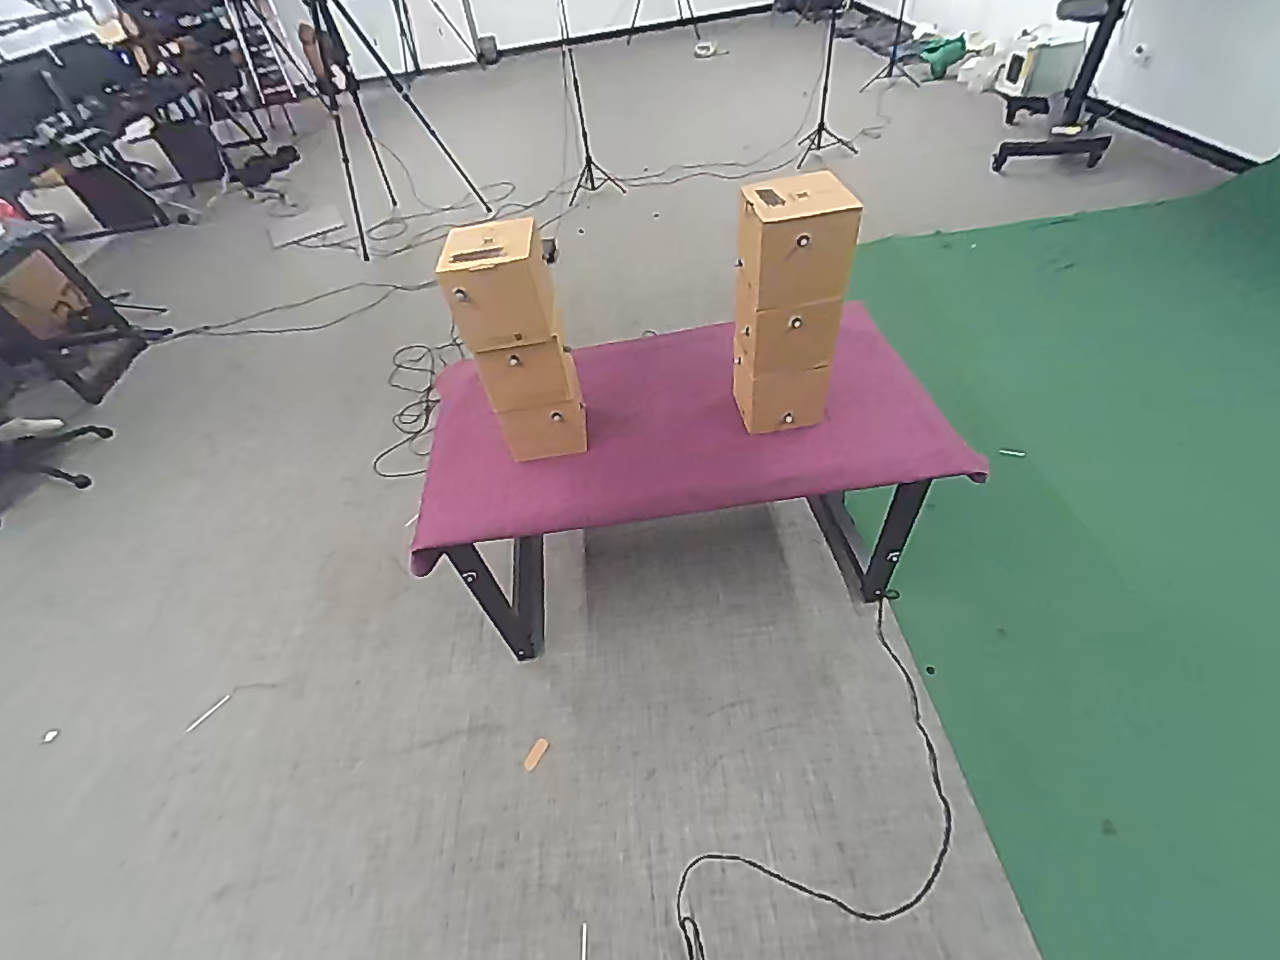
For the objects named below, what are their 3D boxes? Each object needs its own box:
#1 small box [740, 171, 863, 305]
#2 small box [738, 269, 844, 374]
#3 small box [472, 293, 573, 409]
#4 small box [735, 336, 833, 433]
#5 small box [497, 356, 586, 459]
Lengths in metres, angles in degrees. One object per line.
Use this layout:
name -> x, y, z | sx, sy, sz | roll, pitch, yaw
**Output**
small box -> 0.292, -0.450, 1.018 | 0.179, 0.176, 0.168 | -9, 49, 1
small box -> 0.308, -0.341, 1.139 | 0.179, 0.176, 0.168 | -9, 49, 1
small box -> -0.242, -0.274, 1.166 | 0.179, 0.176, 0.168 | -9, 49, 1
small box -> 0.326, -0.232, 1.260 | 0.179, 0.176, 0.168 | -10, 48, 0
small box -> -0.225, -0.171, 1.289 | 0.179, 0.176, 0.168 | -8, 48, 1
